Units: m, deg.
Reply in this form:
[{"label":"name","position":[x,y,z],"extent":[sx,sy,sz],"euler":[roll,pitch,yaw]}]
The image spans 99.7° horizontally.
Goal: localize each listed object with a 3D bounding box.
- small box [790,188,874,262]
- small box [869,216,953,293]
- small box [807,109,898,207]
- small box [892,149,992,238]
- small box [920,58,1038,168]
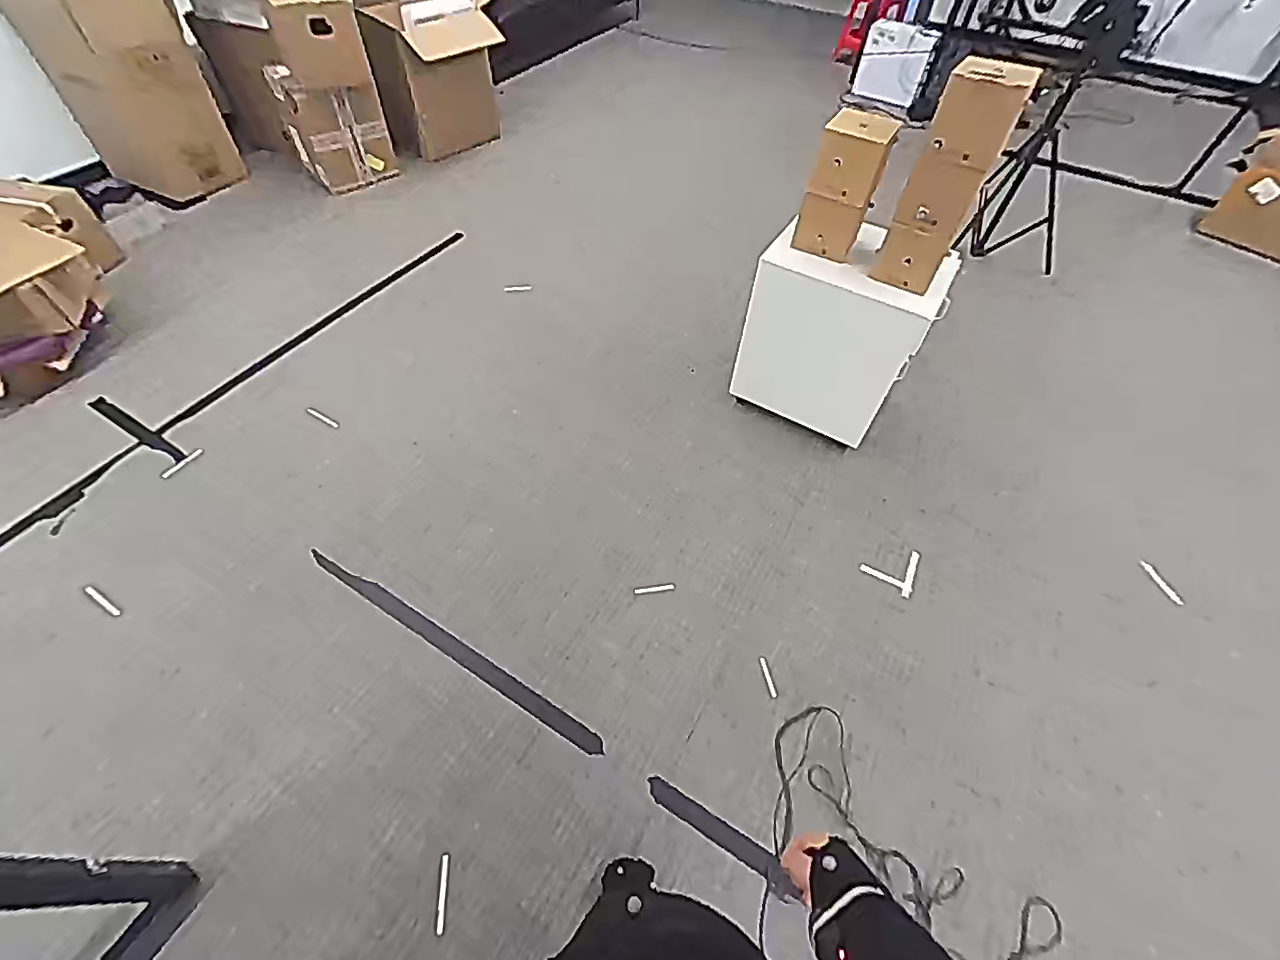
[{"label":"small box","position":[0.568,-0.785,1.614],"extent":[0.168,0.176,0.179],"euler":[25,56,15]},{"label":"small box","position":[0.773,-0.659,1.531],"extent":[0.168,0.176,0.179],"euler":[27,58,18]},{"label":"small box","position":[0.575,-0.879,1.482],"extent":[0.168,0.176,0.179],"euler":[26,56,15]},{"label":"small box","position":[0.783,-0.764,1.405],"extent":[0.168,0.176,0.179],"euler":[27,57,18]},{"label":"small box","position":[0.788,-0.861,1.272],"extent":[0.168,0.176,0.179],"euler":[28,55,19]}]
